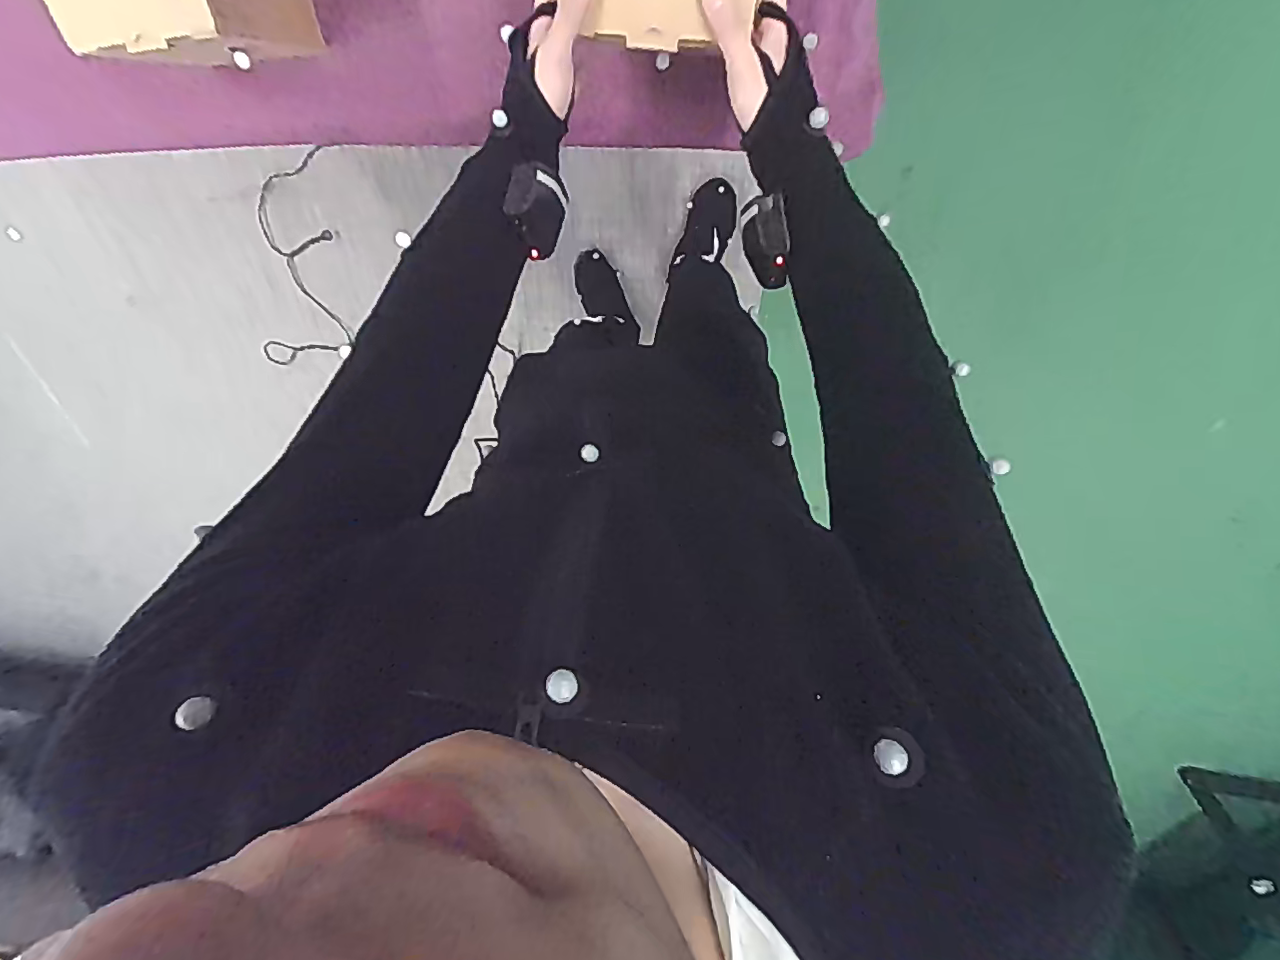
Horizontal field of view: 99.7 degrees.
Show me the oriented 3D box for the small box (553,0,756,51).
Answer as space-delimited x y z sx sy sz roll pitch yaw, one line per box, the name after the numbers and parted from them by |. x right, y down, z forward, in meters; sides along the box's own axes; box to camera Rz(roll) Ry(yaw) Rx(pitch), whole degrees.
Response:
0.026 -0.482 0.460 0.168 0.176 0.179 8 128 5 | small box

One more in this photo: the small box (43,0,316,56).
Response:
-0.459 -0.525 0.521 0.168 0.176 0.179 1 125 9 | small box
